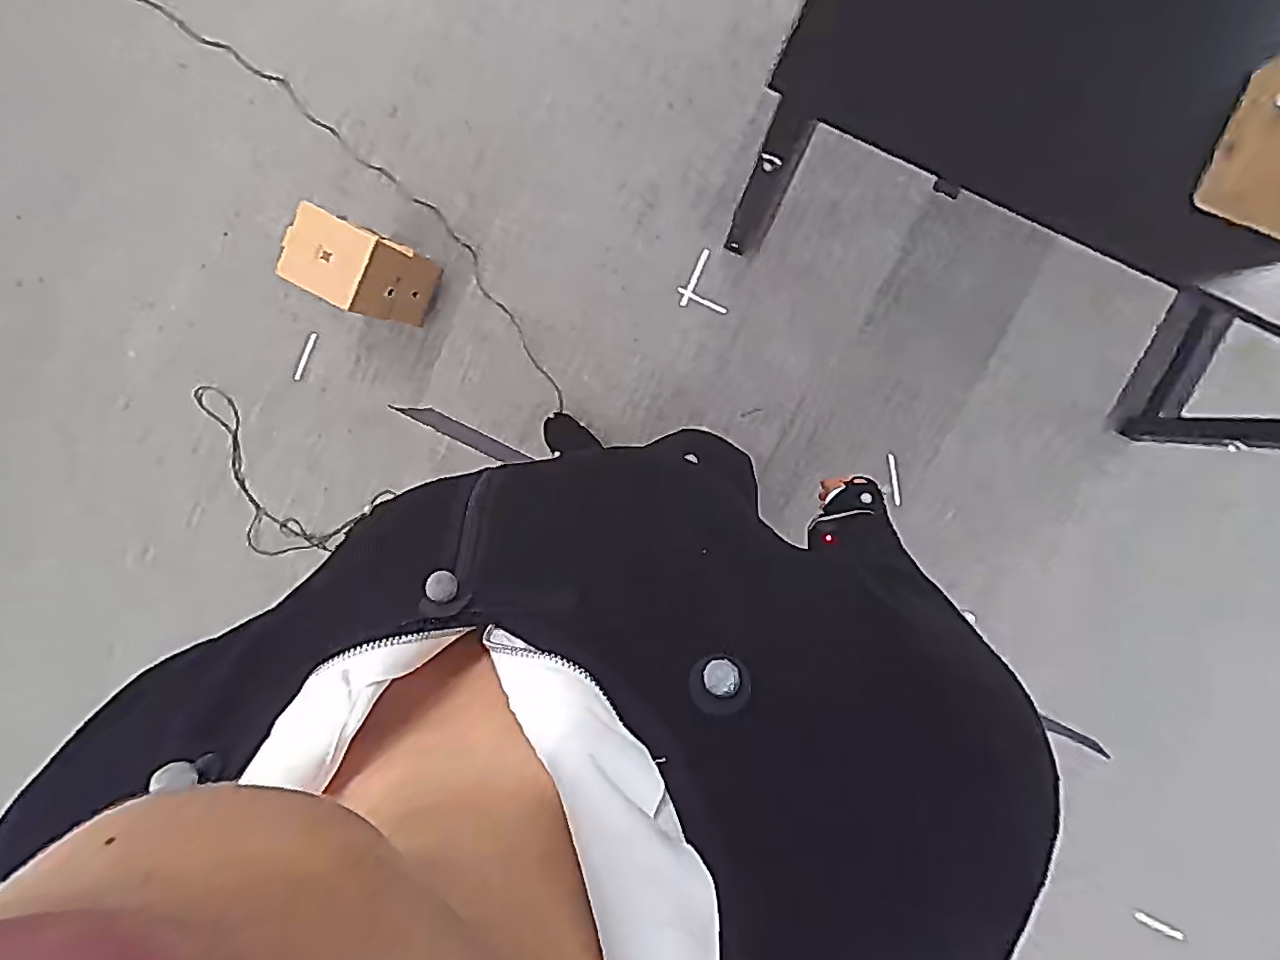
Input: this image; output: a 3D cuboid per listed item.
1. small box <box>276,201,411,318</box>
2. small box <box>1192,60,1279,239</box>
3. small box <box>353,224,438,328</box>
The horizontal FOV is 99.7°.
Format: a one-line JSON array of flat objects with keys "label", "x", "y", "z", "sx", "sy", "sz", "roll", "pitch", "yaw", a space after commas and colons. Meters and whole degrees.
[{"label": "small box", "x": -0.649, "y": -0.477, "z": 1.202, "sx": 0.179, "sy": 0.176, "sz": 0.168, "roll": 27, "pitch": 99, "yaw": -2}, {"label": "small box", "x": 0.780, "y": -0.381, "z": 0.584, "sx": 0.179, "sy": 0.176, "sz": 0.168, "roll": 21, "pitch": 97, "yaw": 1}, {"label": "small box", "x": -0.636, "y": -0.503, "z": 1.362, "sx": 0.168, "sy": 0.176, "sz": 0.179, "roll": 25, "pitch": 99, "yaw": -1}]
